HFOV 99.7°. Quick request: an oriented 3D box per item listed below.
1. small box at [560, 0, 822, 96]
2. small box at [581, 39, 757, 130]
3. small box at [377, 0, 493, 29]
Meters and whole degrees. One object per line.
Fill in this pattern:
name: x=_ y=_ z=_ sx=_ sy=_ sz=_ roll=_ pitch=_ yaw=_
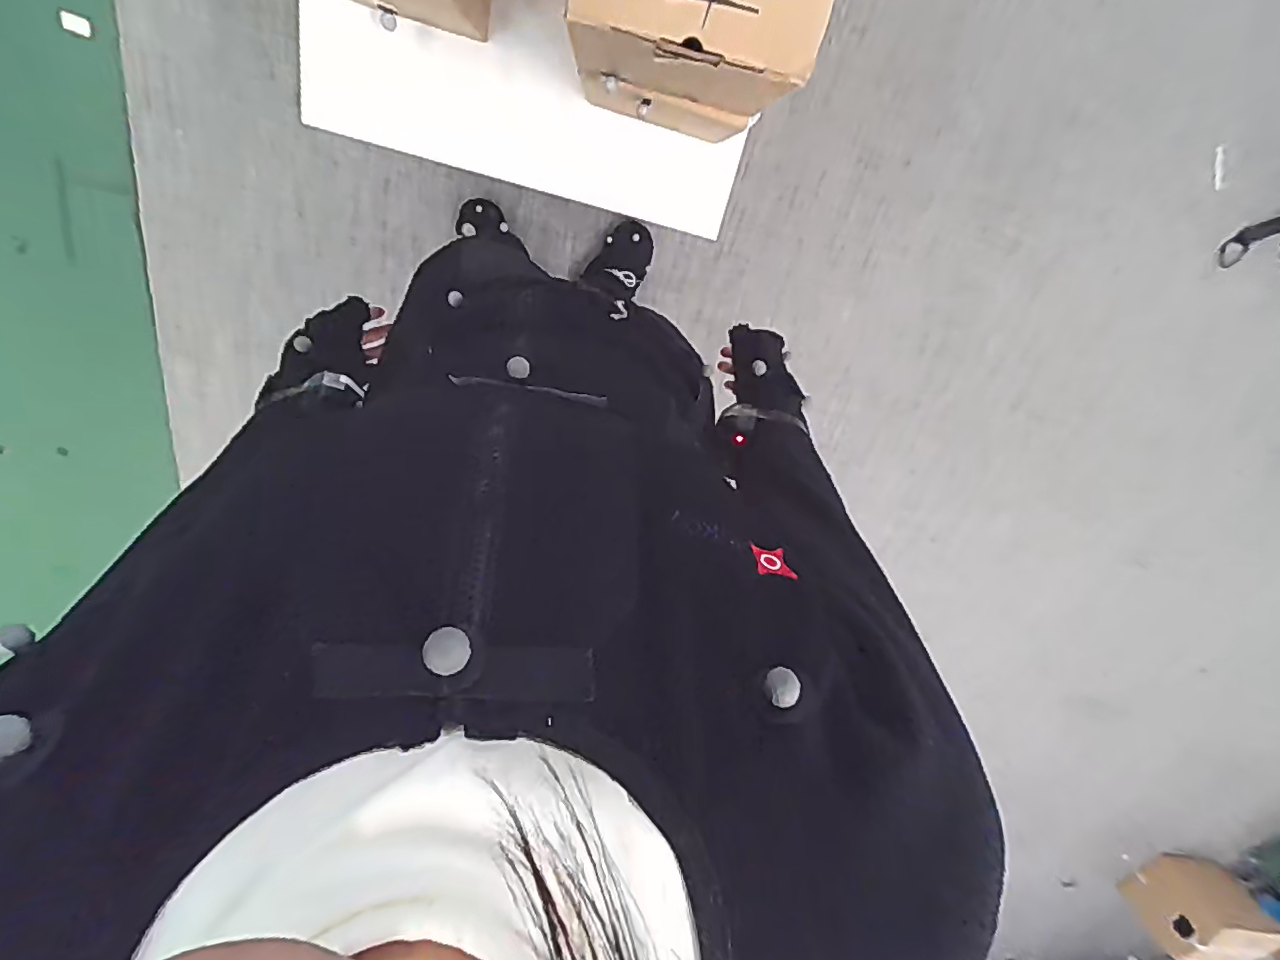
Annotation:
small box: x=0.044 y=-0.396 z=0.376 sx=0.168 sy=0.176 sz=0.179 roll=9 pitch=117 yaw=-8
small box: x=0.042 y=-0.468 z=0.525 sx=0.168 sy=0.176 sz=0.179 roll=12 pitch=117 yaw=-8
small box: x=-0.220 y=-0.541 z=0.474 sx=0.168 sy=0.176 sz=0.179 roll=10 pitch=120 yaw=-8
